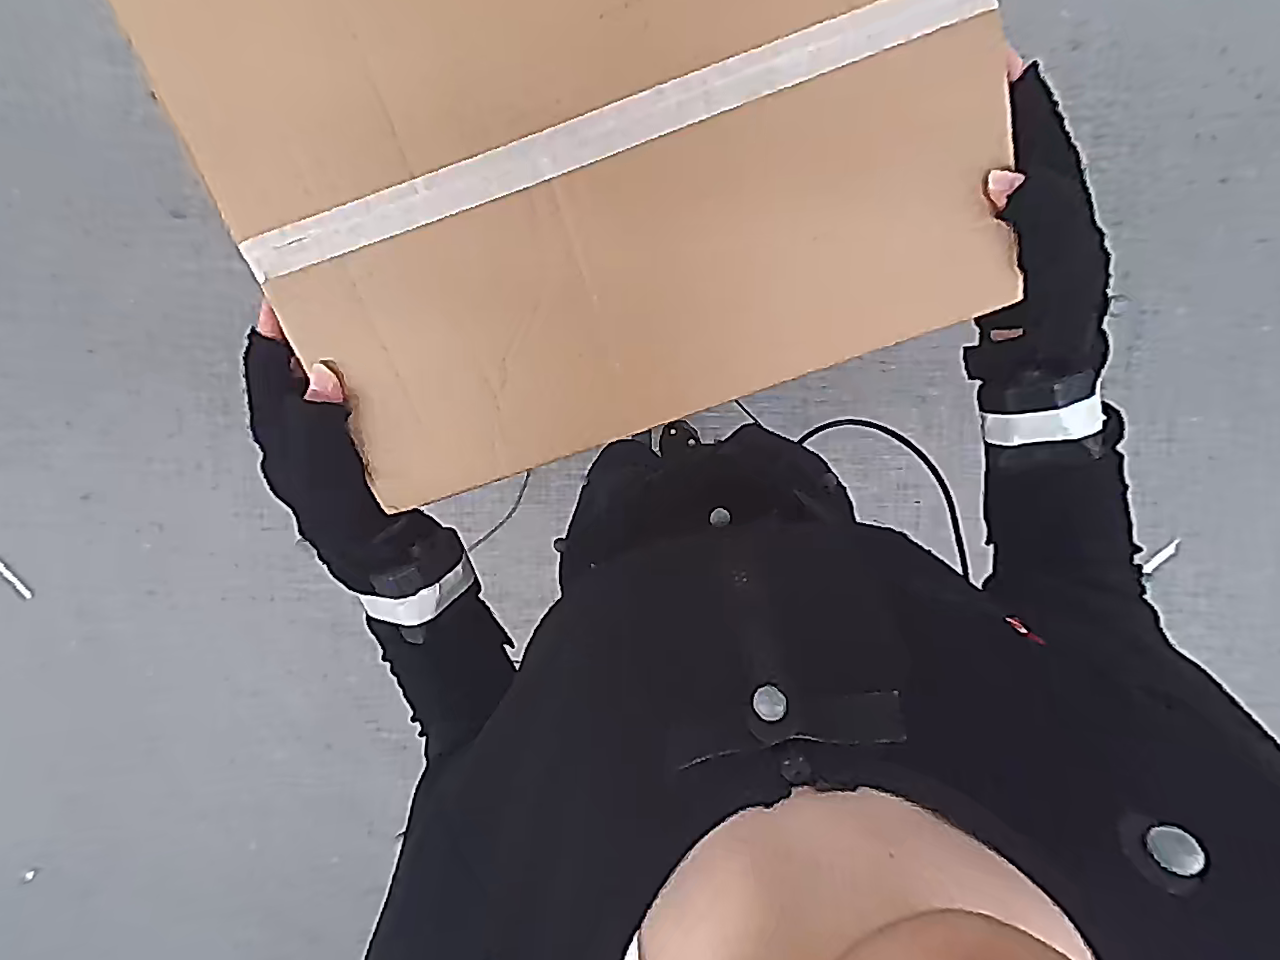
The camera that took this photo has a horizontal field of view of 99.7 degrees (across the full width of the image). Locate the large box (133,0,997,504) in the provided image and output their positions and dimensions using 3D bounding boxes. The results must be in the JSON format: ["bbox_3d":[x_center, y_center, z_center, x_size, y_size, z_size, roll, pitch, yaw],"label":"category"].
[{"bbox_3d":[-0.023,-0.231,0.430,0.408,0.320,0.320,-18,108,3],"label":"large box"}]
